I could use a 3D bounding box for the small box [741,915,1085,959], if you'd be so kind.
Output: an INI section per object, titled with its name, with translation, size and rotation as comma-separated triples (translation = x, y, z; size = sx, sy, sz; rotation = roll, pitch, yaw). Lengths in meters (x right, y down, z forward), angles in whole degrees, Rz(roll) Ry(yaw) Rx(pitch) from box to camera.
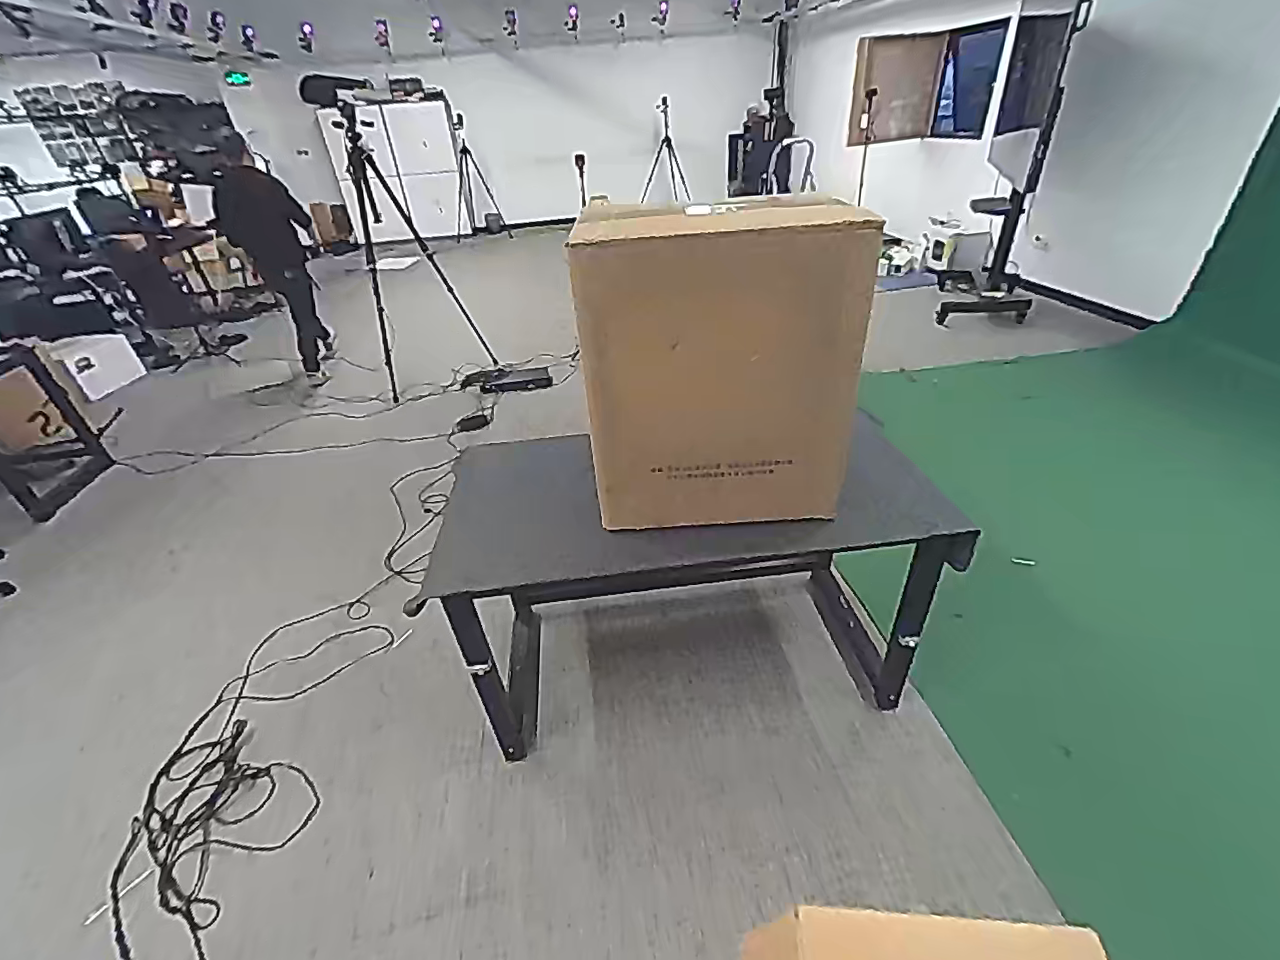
[small box]
translation = 0.155, 0.368, 0.301
size = 0.168, 0.176, 0.179
rotation = 4, 47, 0
